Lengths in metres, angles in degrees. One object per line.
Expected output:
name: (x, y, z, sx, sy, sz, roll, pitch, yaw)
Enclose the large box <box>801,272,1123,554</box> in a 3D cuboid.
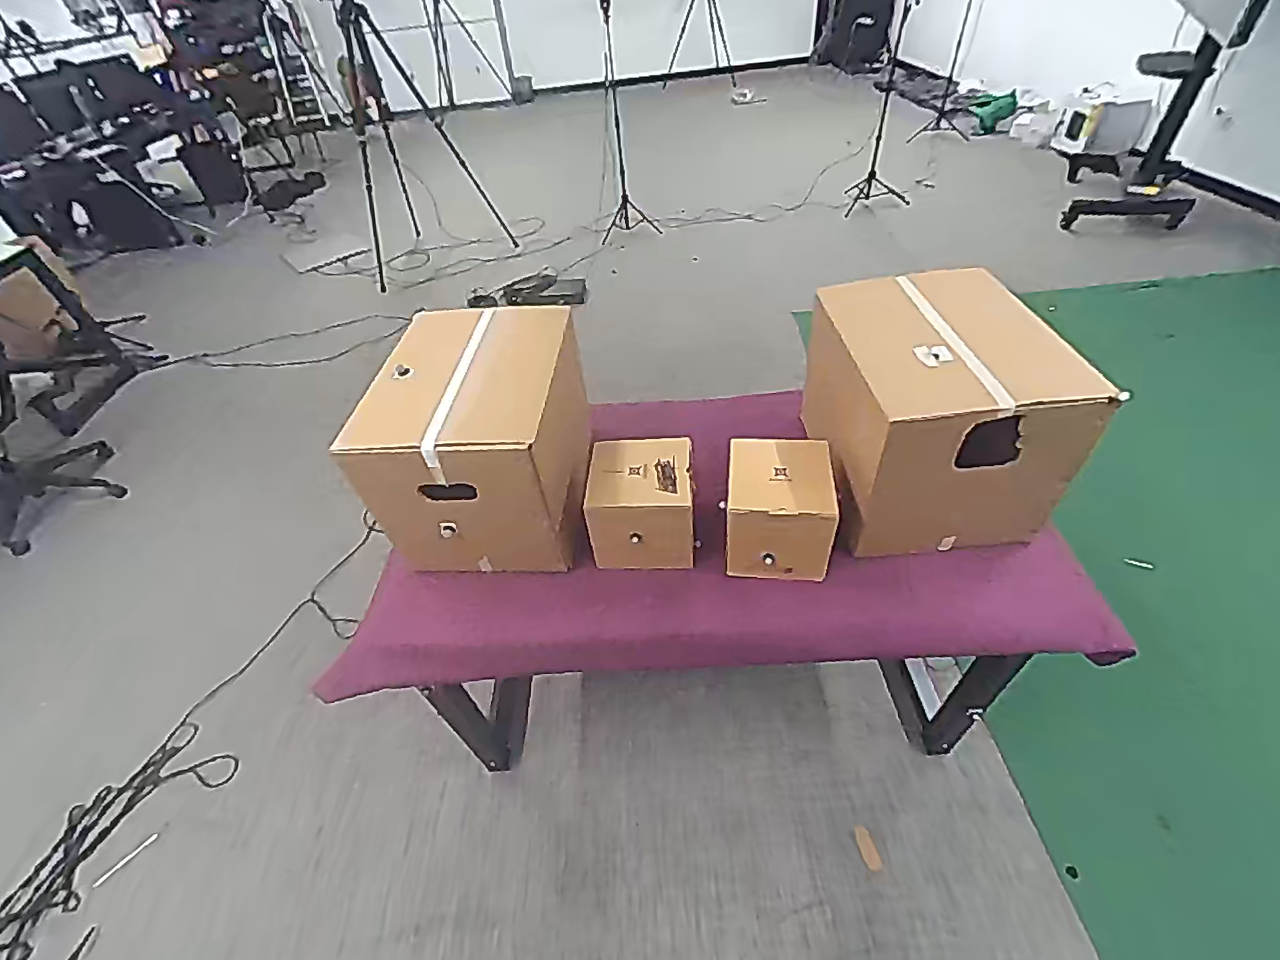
large box: (0.504, -0.126, 0.973, 0.320, 0.320, 0.408, -6, 45, 4)
